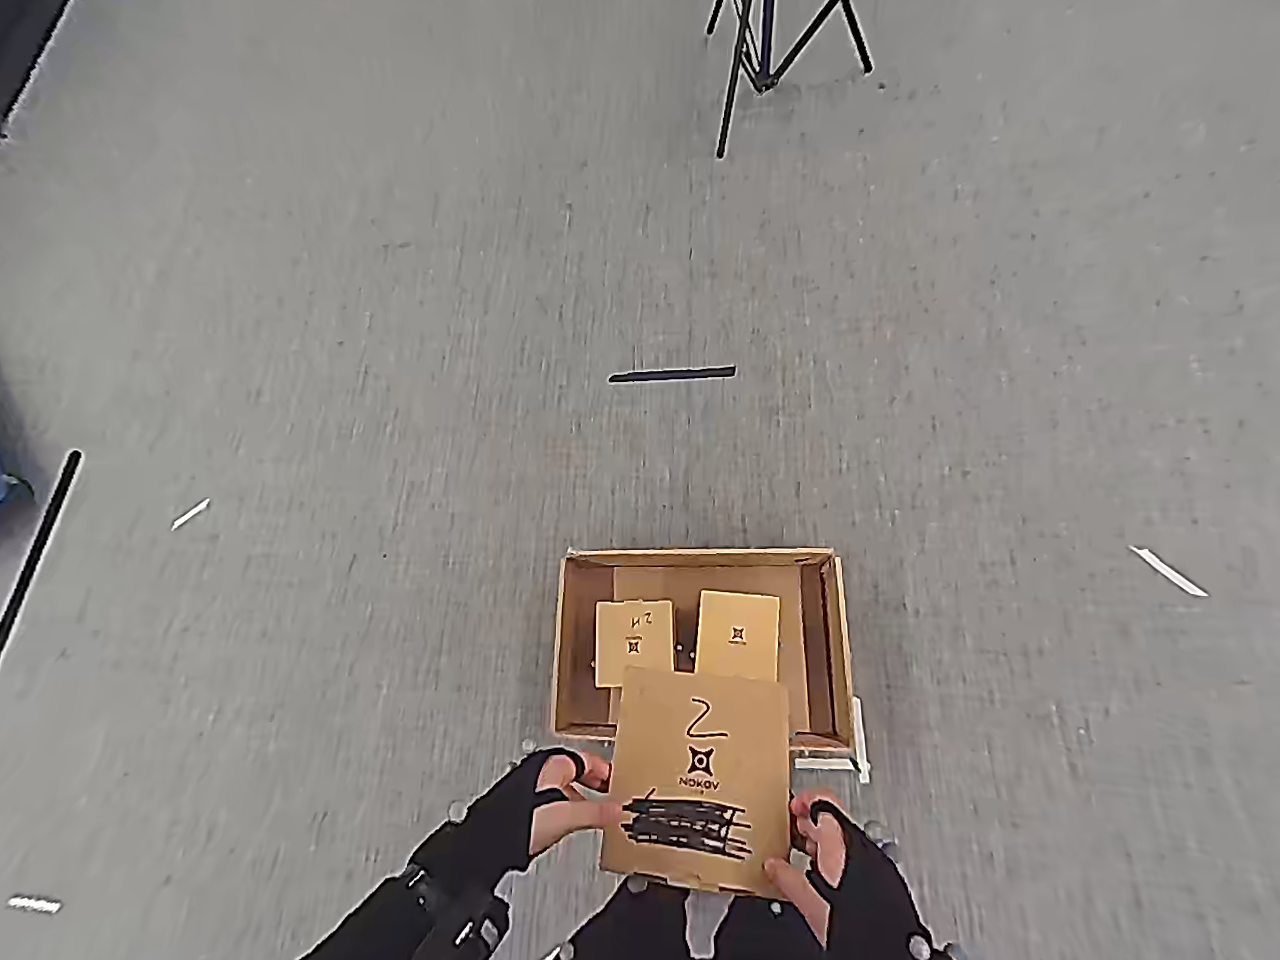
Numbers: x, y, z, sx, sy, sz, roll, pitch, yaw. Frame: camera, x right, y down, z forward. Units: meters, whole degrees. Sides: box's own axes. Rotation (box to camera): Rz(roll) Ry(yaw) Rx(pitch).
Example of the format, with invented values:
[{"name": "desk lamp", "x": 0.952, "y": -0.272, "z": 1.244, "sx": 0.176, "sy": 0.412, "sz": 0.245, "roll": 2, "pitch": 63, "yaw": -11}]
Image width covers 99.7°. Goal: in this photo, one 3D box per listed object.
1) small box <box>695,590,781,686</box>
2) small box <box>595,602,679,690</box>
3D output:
[{"name": "small box", "x": 0.214, "y": 0.347, "z": 1.184, "sx": 0.168, "sy": 0.176, "sz": 0.179, "roll": 3, "pitch": 72, "yaw": 11}, {"name": "small box", "x": -0.002, "y": 0.370, "z": 1.208, "sx": 0.168, "sy": 0.176, "sz": 0.179, "roll": -3, "pitch": 71, "yaw": 6}]
